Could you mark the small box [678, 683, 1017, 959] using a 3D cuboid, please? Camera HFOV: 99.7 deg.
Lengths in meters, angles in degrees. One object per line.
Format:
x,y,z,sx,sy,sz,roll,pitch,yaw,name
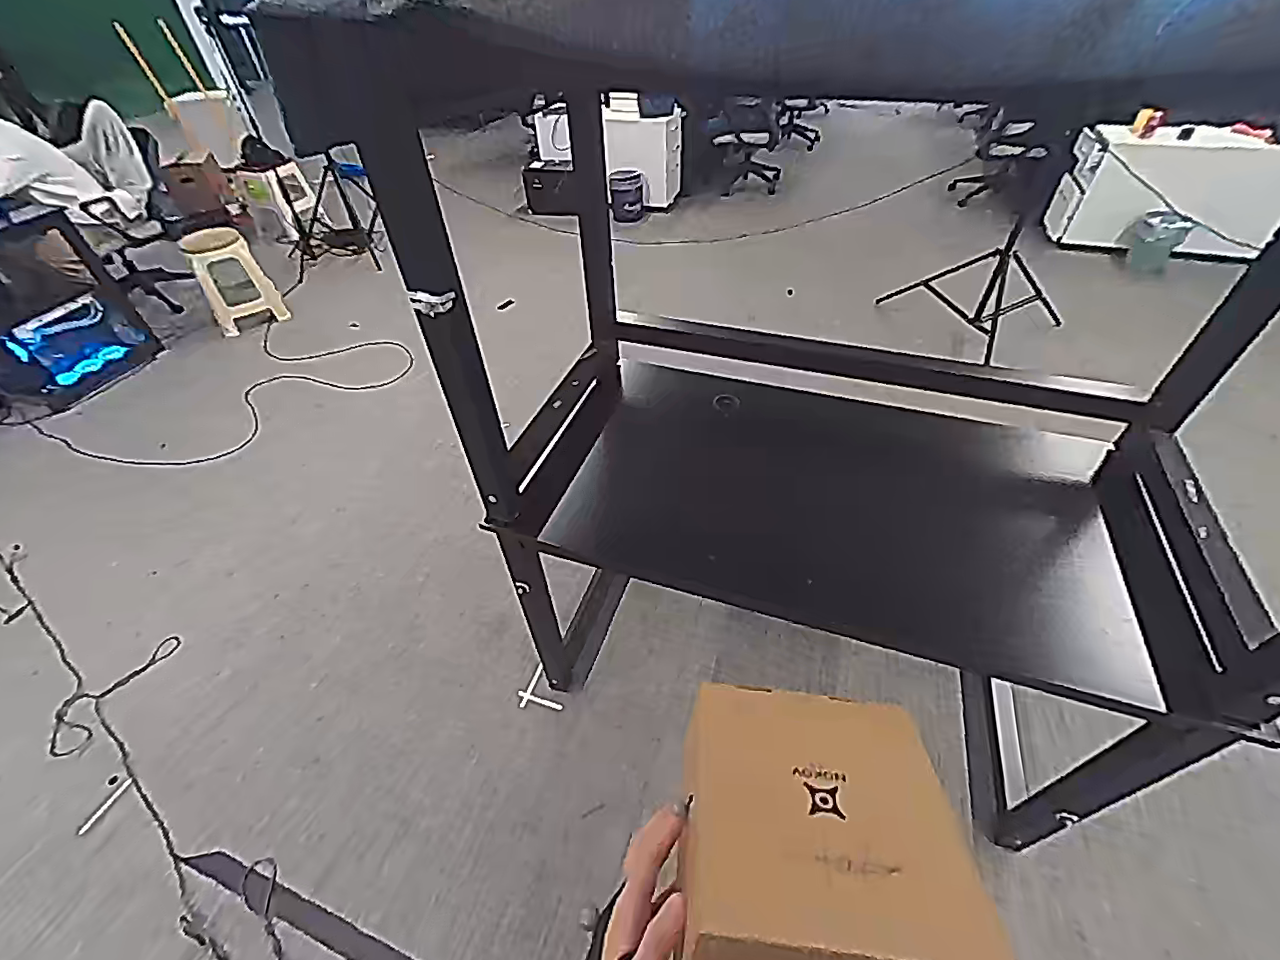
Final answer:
0.116,0.279,0.385,0.168,0.176,0.179,5,25,4,small box
